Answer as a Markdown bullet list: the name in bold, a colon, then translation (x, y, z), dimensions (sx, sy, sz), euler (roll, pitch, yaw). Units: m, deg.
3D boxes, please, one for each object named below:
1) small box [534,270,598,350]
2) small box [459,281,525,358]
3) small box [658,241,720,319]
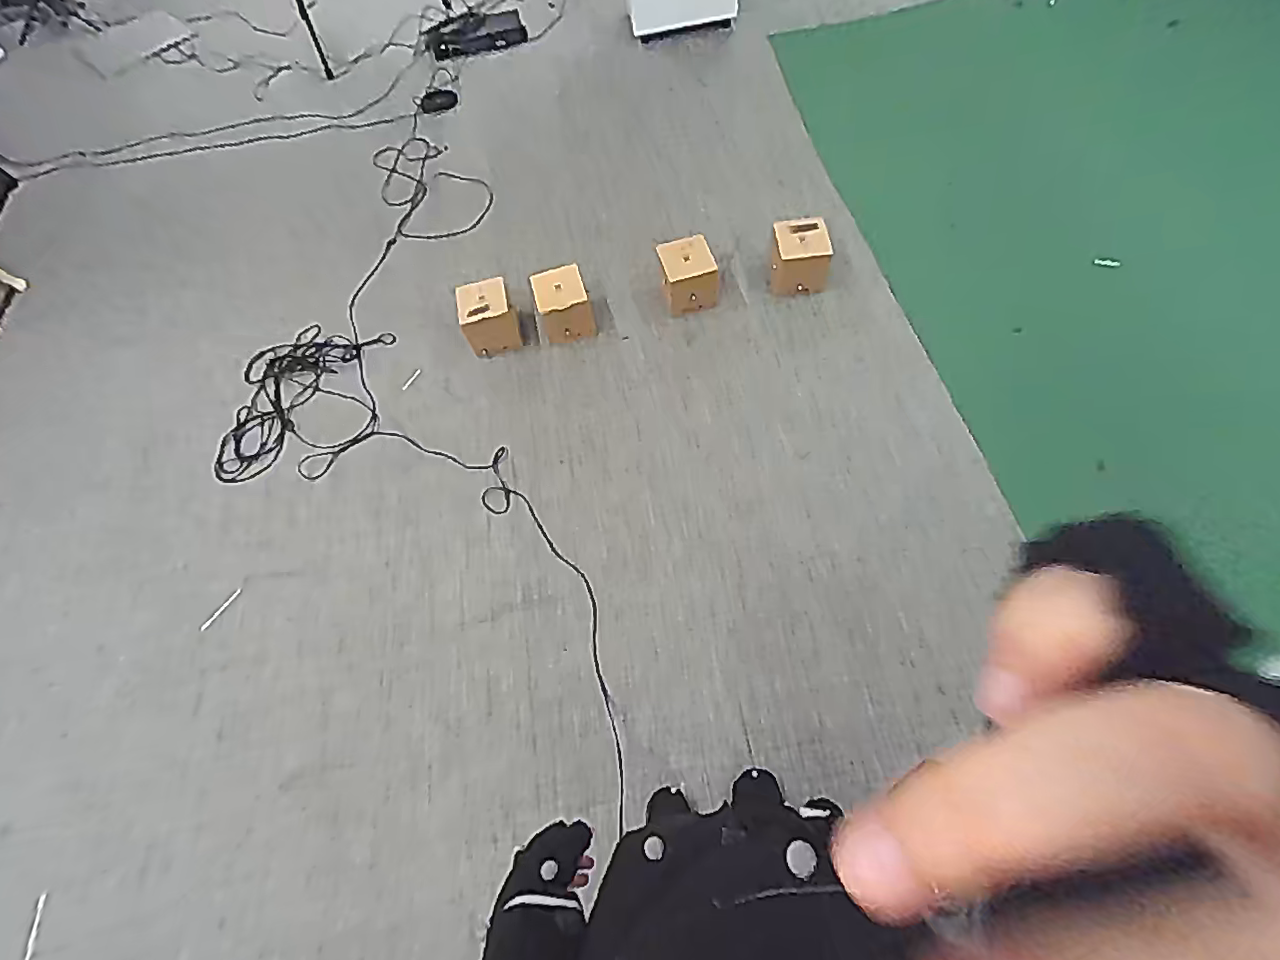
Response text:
- **small box**: translation (-0.249, -0.575, 1.838), dimensions (0.168, 0.176, 0.179), euler (-17, 64, -2)
- **small box**: translation (-0.502, -0.539, 1.847), dimensions (0.168, 0.176, 0.179), euler (-14, 62, -1)
- **small box**: translation (0.167, -0.670, 1.839), dimensions (0.168, 0.176, 0.179), euler (-15, 63, -3)
